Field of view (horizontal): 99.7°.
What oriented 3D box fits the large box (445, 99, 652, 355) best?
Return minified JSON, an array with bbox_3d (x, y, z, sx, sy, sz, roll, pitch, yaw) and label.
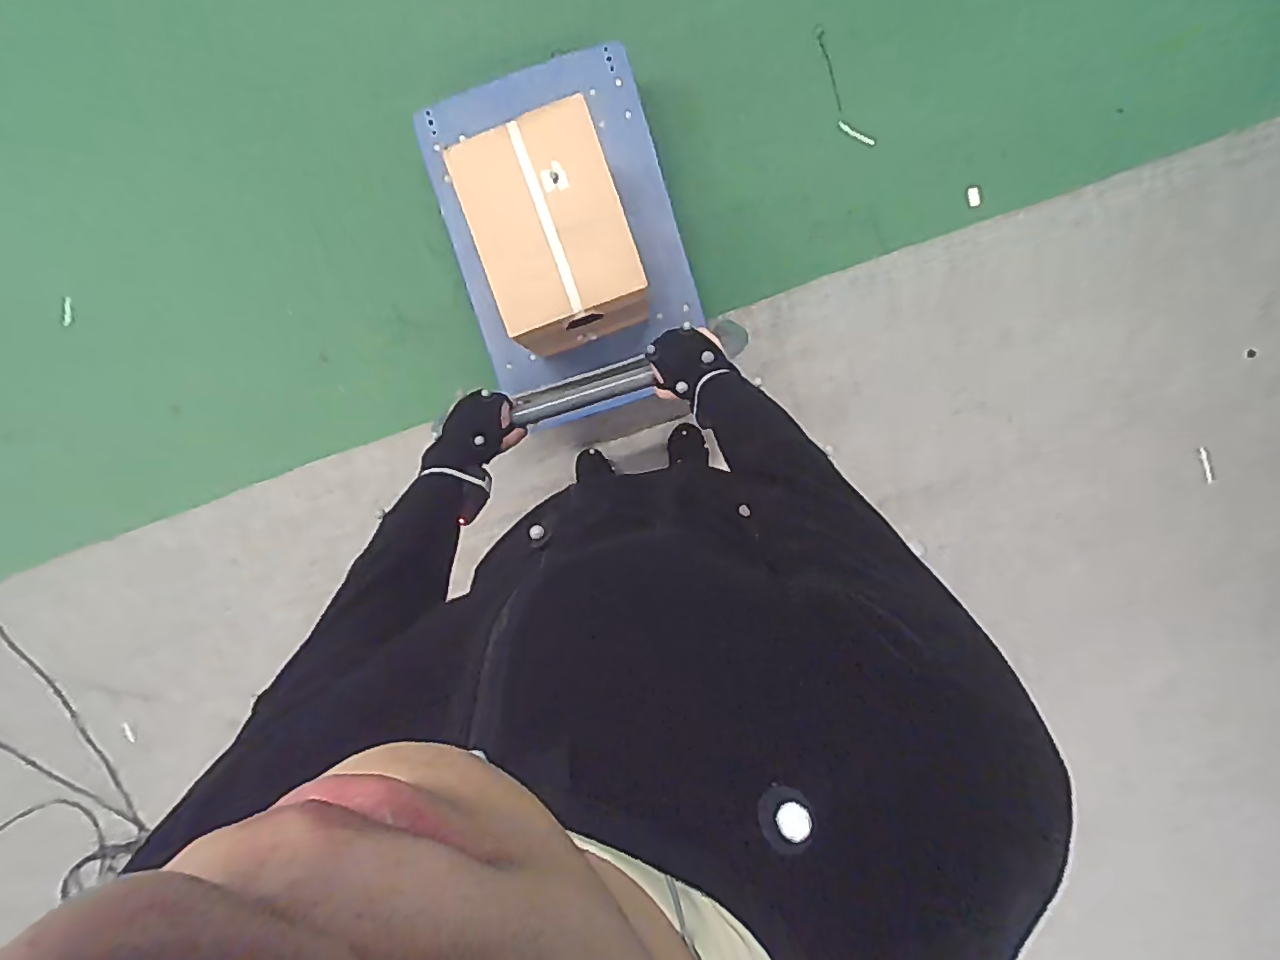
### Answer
[{"bbox_3d":[-0.186,-0.550,1.266,0.320,0.320,0.408,-19,94,4],"label":"large box"}]
